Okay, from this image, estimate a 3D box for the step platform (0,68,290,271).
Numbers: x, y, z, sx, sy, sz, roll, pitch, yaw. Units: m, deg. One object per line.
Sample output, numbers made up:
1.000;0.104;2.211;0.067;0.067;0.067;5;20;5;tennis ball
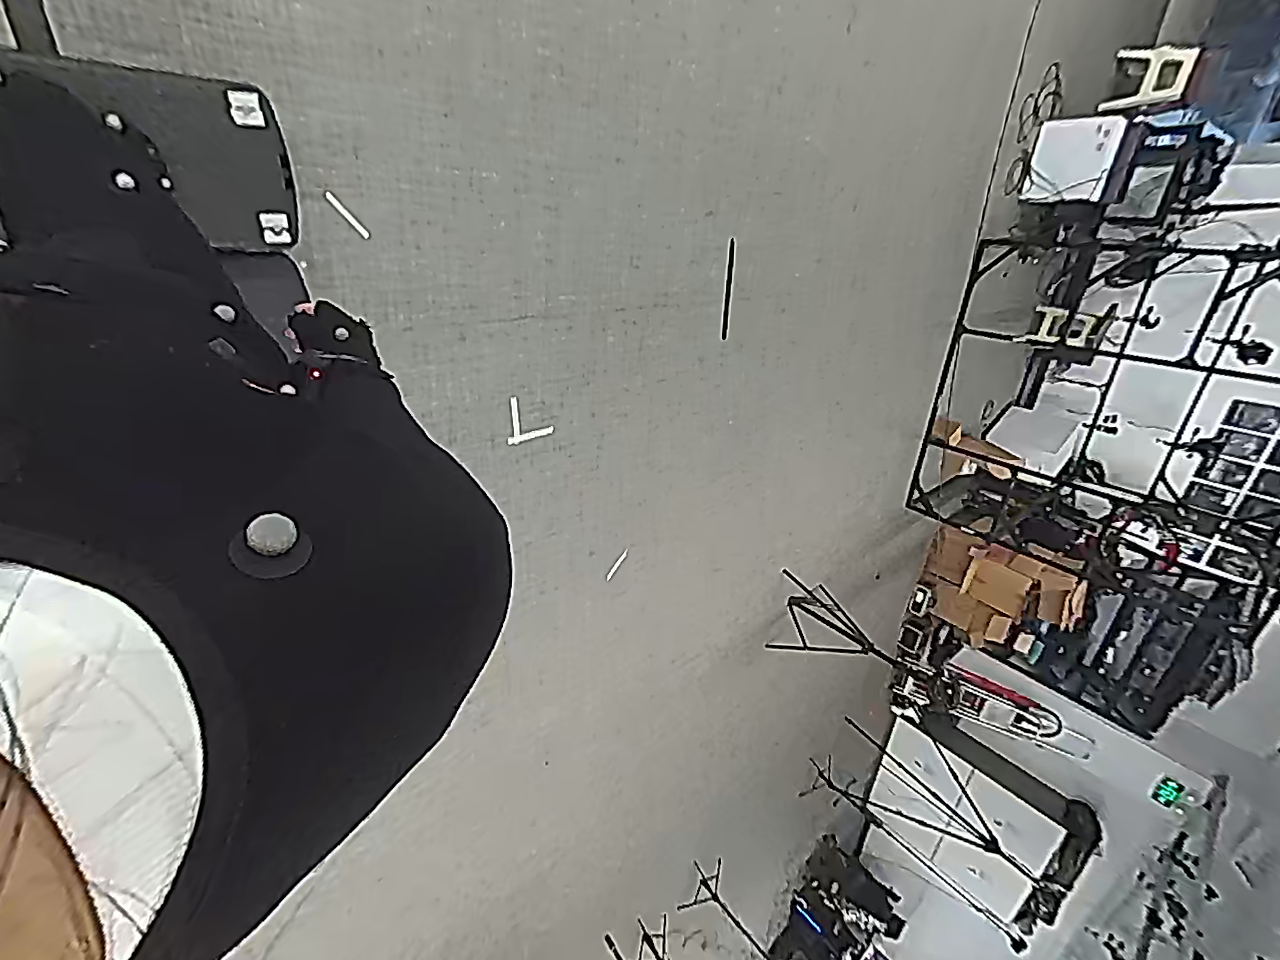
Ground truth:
-1.001;-0.513;0.912;0.684;0.204;0.286;-20;124;-37;step platform
